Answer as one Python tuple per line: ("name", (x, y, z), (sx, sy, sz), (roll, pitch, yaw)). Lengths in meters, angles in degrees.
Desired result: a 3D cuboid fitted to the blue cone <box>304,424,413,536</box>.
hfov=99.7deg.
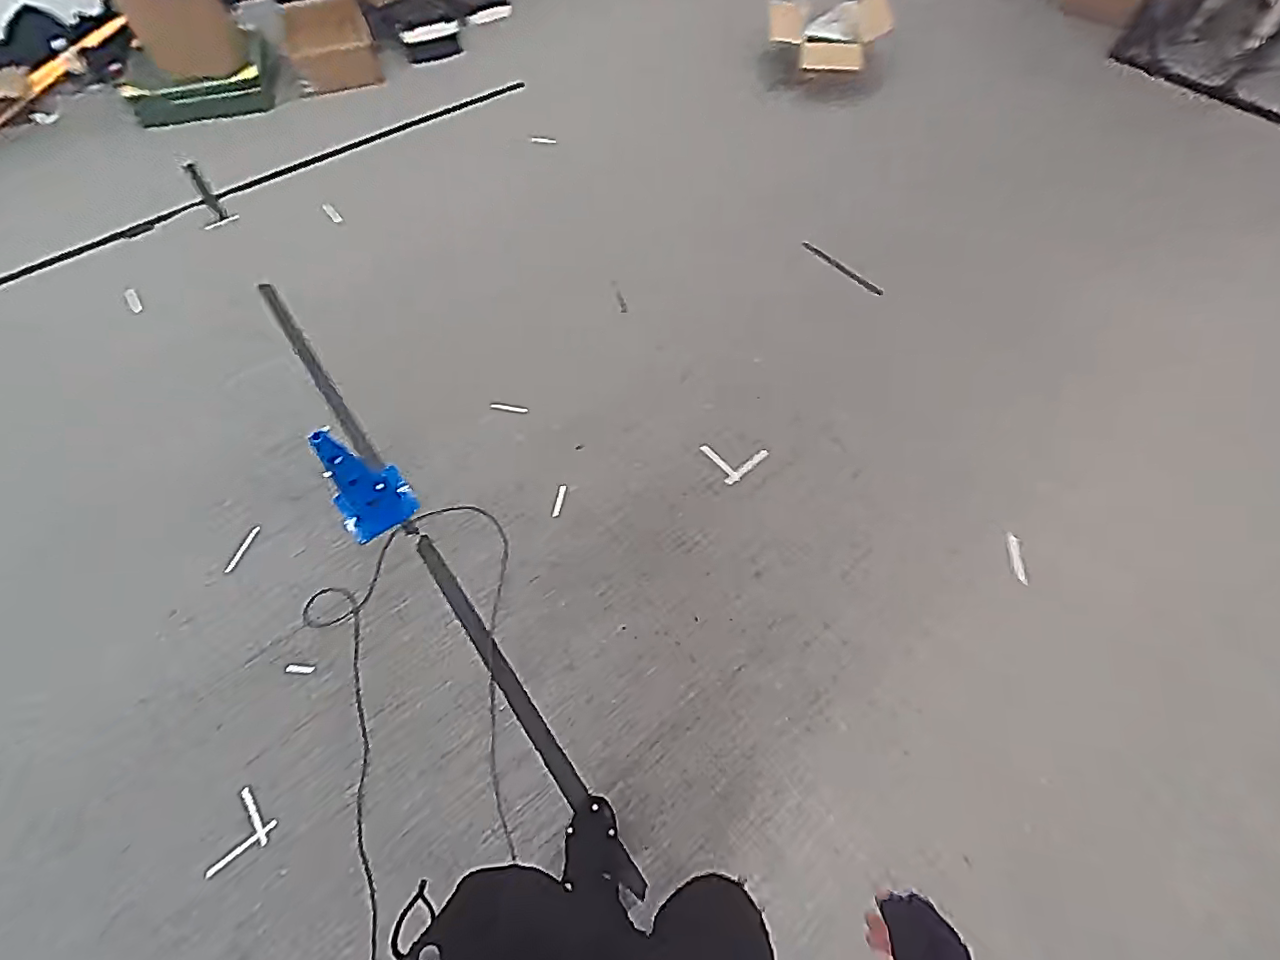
("blue cone", (-0.779, -0.022, 1.443), (0.193, 0.380, 0.192), (-35, 67, -18))
